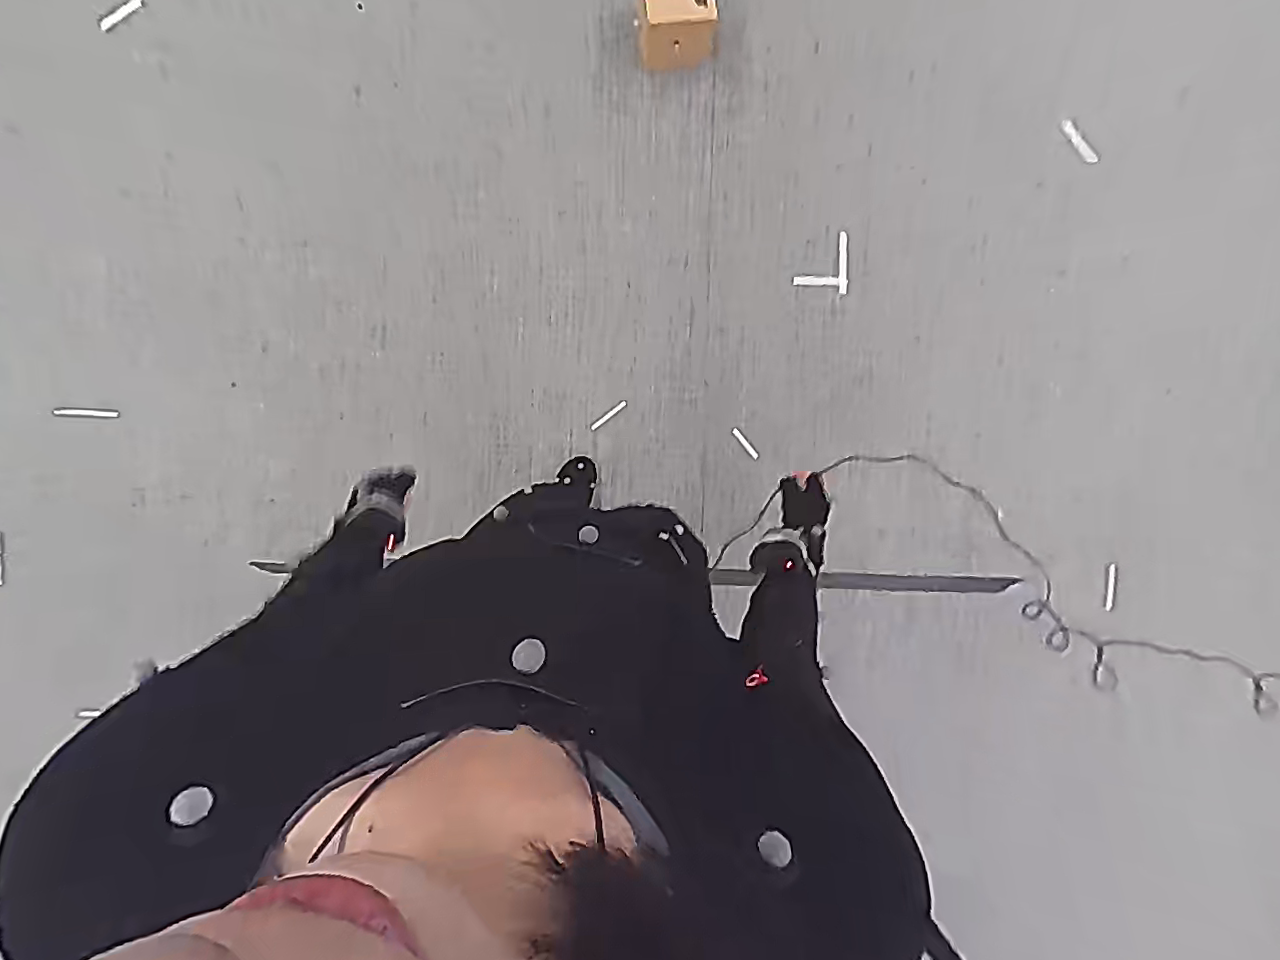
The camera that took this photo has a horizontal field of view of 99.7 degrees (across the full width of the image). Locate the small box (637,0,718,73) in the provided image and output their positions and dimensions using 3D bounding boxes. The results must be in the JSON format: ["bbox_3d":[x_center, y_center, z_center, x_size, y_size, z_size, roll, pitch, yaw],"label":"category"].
[{"bbox_3d":[0.091,-1.191,1.391,0.179,0.176,0.168,-7,93,-3],"label":"small box"}]
